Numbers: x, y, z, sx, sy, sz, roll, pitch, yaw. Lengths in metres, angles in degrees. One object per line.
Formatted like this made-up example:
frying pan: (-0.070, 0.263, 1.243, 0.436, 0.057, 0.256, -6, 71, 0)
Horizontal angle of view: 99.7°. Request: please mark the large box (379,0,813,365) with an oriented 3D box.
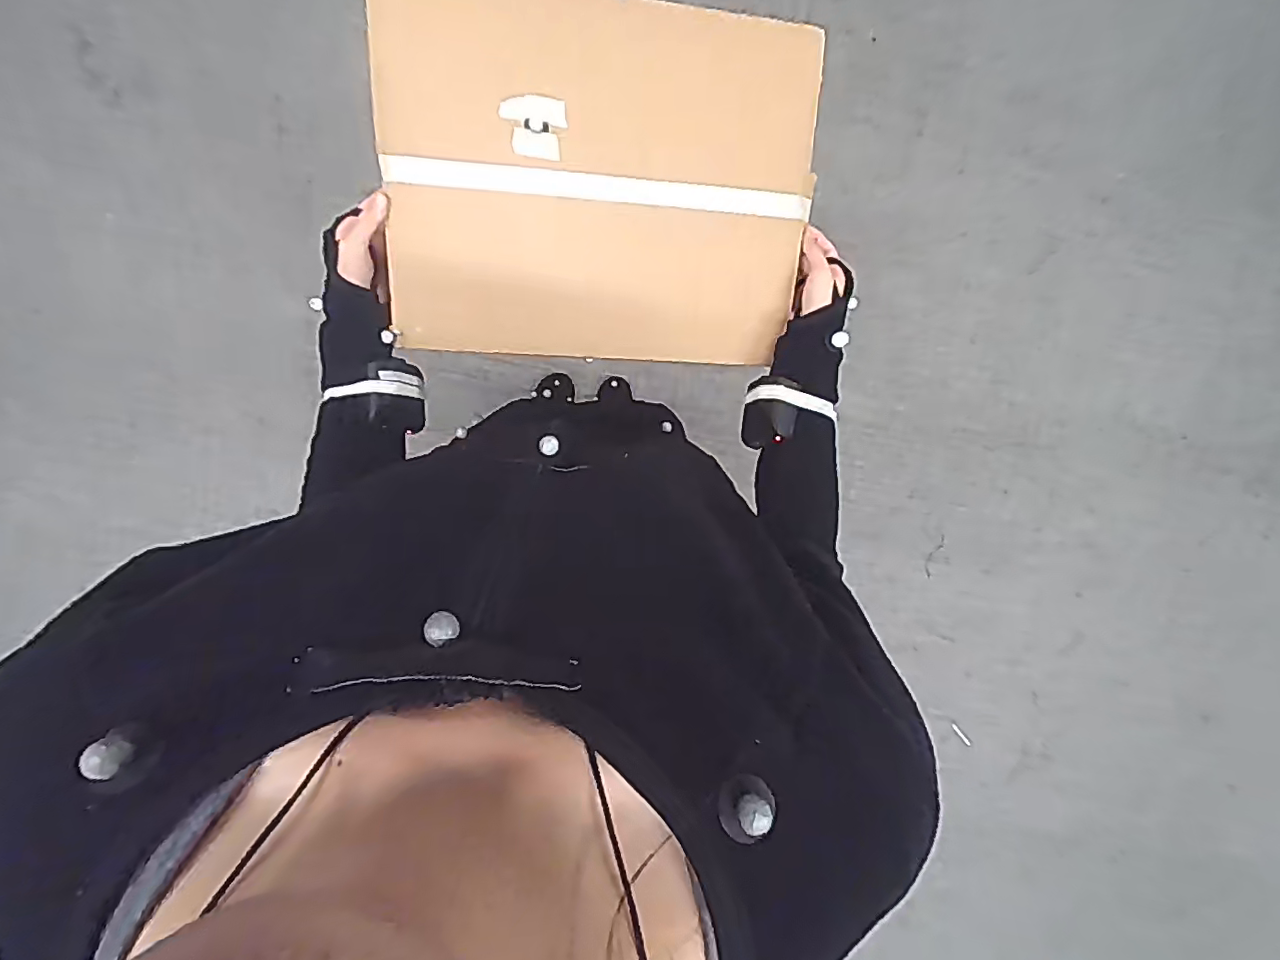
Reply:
large box: (-0.056, -0.325, 0.674, 0.408, 0.320, 0.320, 1, 107, -9)
